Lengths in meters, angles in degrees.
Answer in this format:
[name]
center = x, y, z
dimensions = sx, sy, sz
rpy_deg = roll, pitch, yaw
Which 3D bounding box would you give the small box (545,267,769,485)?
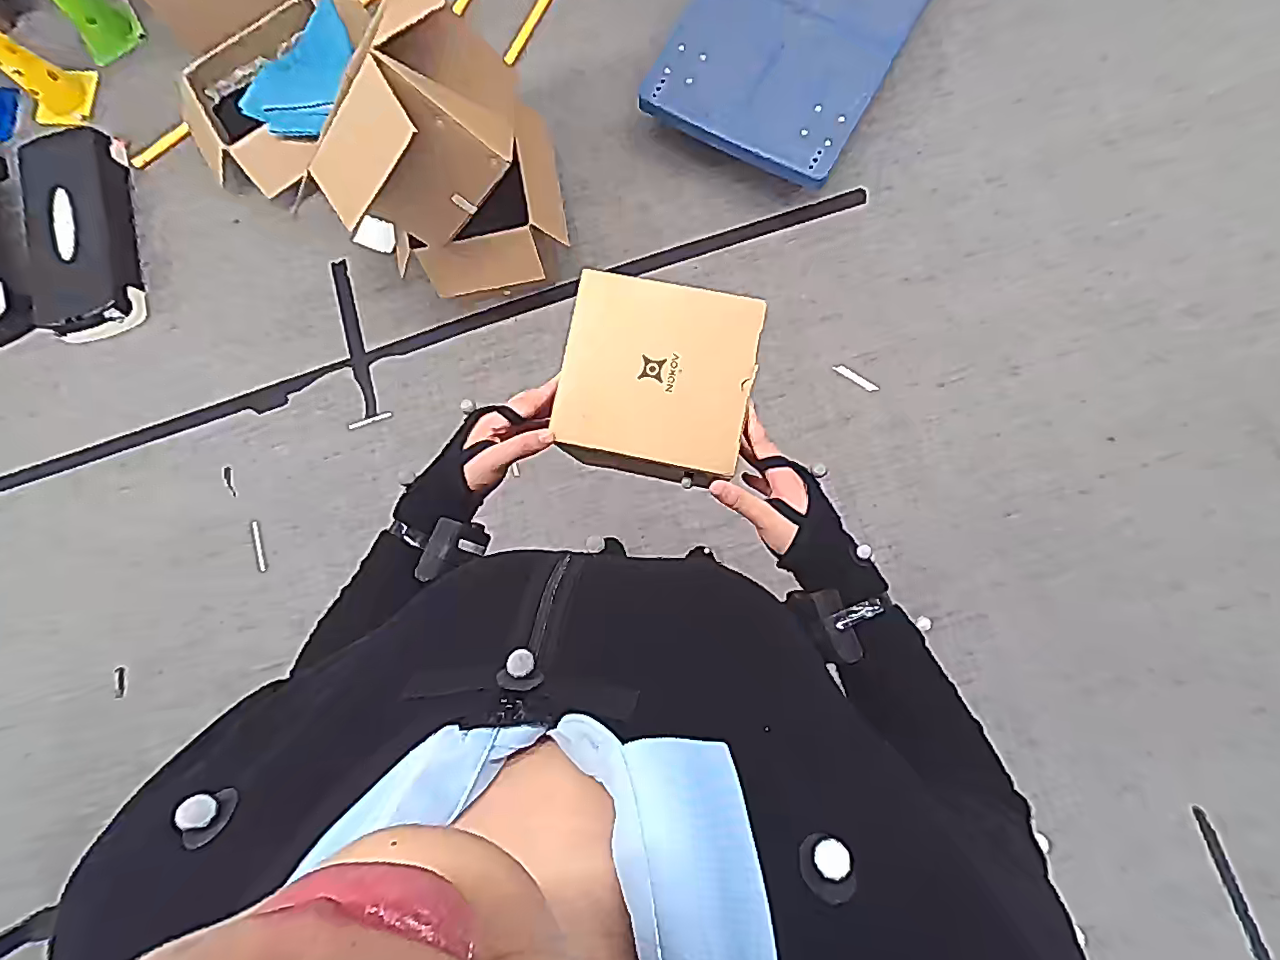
[small box]
center = 0.020, -0.093, 0.563
dimensions = 0.179, 0.176, 0.168
rpy_deg = 12, 85, 4
